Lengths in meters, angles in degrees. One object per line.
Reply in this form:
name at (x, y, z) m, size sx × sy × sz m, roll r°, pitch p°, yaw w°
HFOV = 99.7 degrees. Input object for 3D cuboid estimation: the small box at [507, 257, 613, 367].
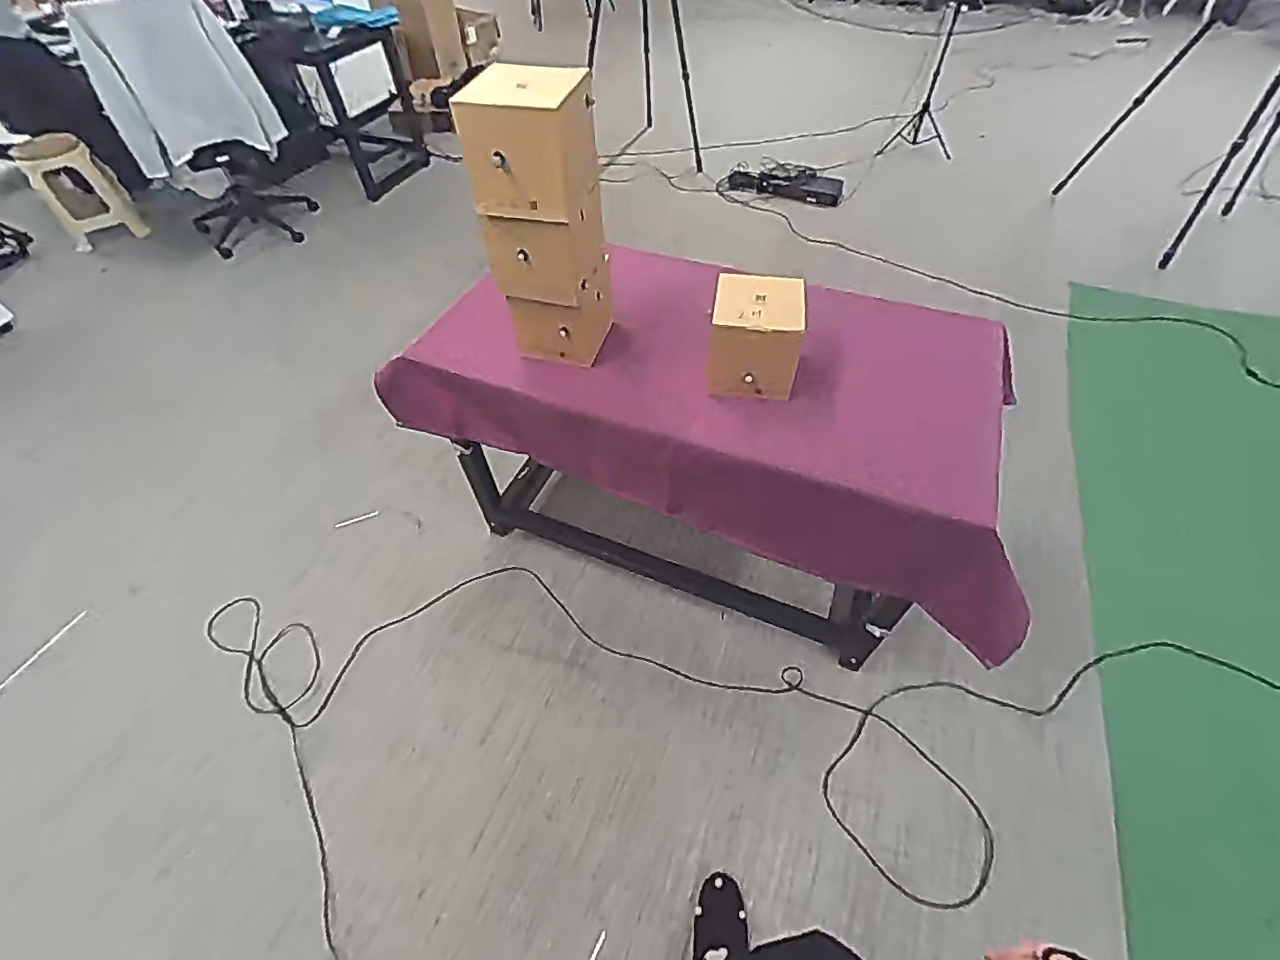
small box at (-0.159, -0.365, 1.157) m, size 0.168 × 0.176 × 0.179 m, roll 13°, pitch 52°, yaw 11°

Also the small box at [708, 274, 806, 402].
small box at (0.228, -0.280, 1.070) m, size 0.168 × 0.176 × 0.179 m, roll 7°, pitch 52°, yaw 8°

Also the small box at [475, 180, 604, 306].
small box at (-0.175, -0.449, 1.015) m, size 0.179 × 0.176 × 0.168 m, roll 12°, pitch 53°, yaw 11°

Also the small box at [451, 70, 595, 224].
small box at (-0.175, -0.539, 0.879) m, size 0.168 × 0.176 × 0.179 m, roll 9°, pitch 52°, yaw 8°
